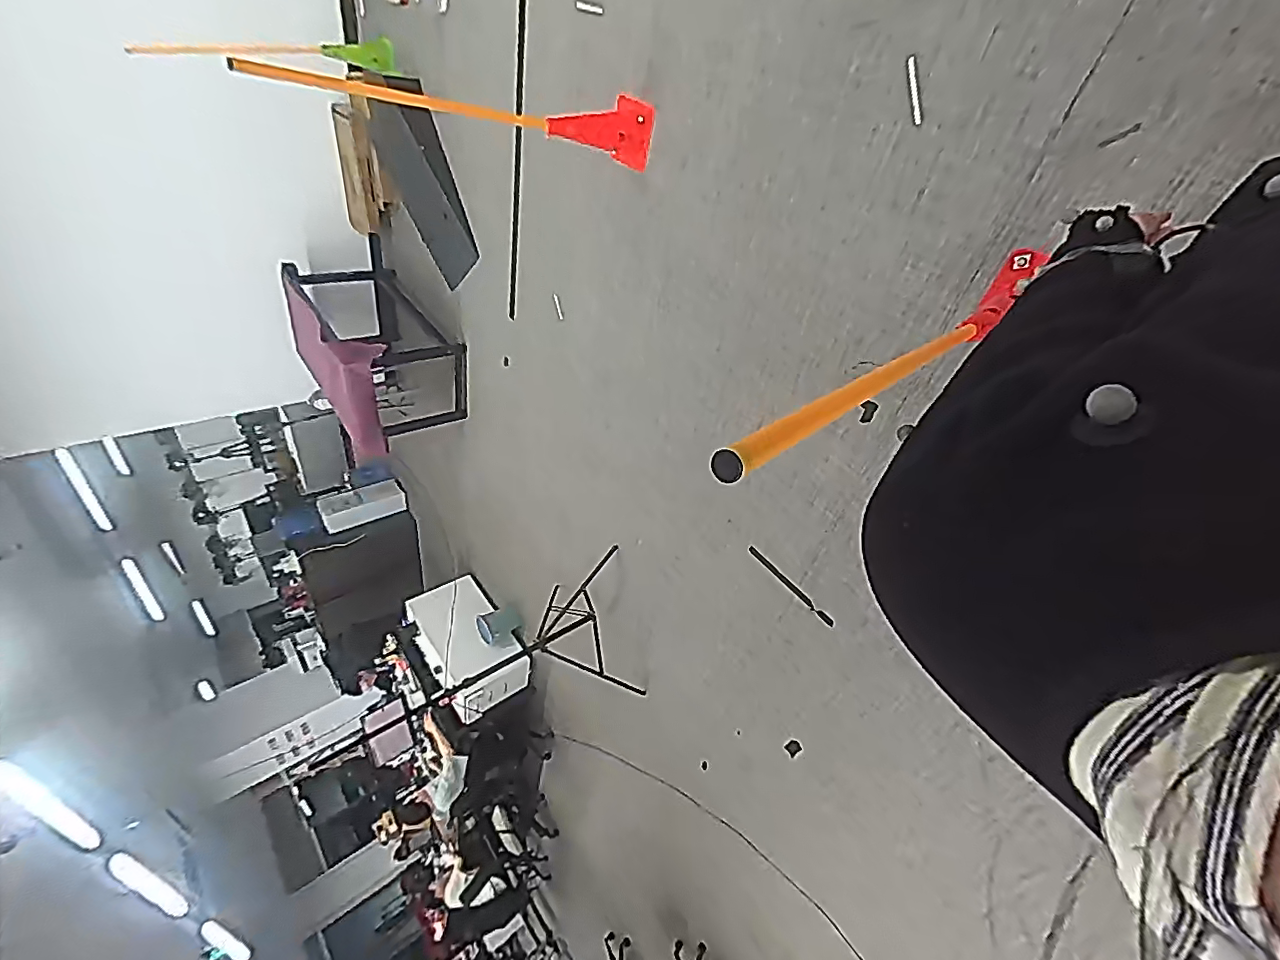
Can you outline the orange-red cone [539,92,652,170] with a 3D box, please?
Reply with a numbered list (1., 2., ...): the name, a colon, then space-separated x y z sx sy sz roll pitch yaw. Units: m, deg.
1. orange-red cone: -0.170 -1.161 1.774 0.199 0.360 0.198 46 139 29
